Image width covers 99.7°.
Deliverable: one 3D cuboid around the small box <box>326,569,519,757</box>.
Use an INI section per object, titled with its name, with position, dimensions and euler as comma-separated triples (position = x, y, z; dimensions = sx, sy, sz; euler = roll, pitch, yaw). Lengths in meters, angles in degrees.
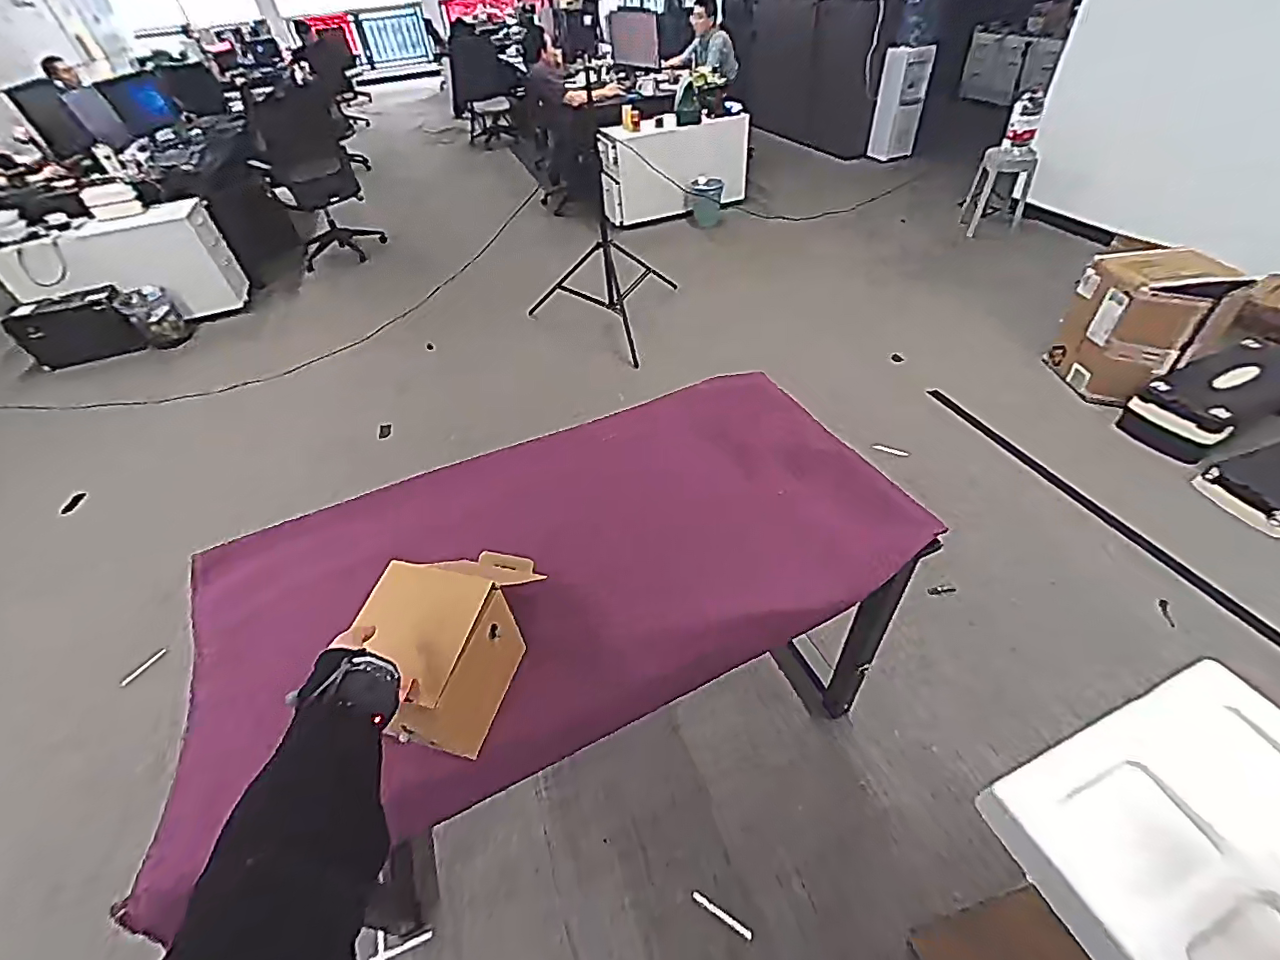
[small box]
position = -0.287, 0.256, 0.764
dimensions = 0.168, 0.176, 0.179
euler = 7, 45, 15
